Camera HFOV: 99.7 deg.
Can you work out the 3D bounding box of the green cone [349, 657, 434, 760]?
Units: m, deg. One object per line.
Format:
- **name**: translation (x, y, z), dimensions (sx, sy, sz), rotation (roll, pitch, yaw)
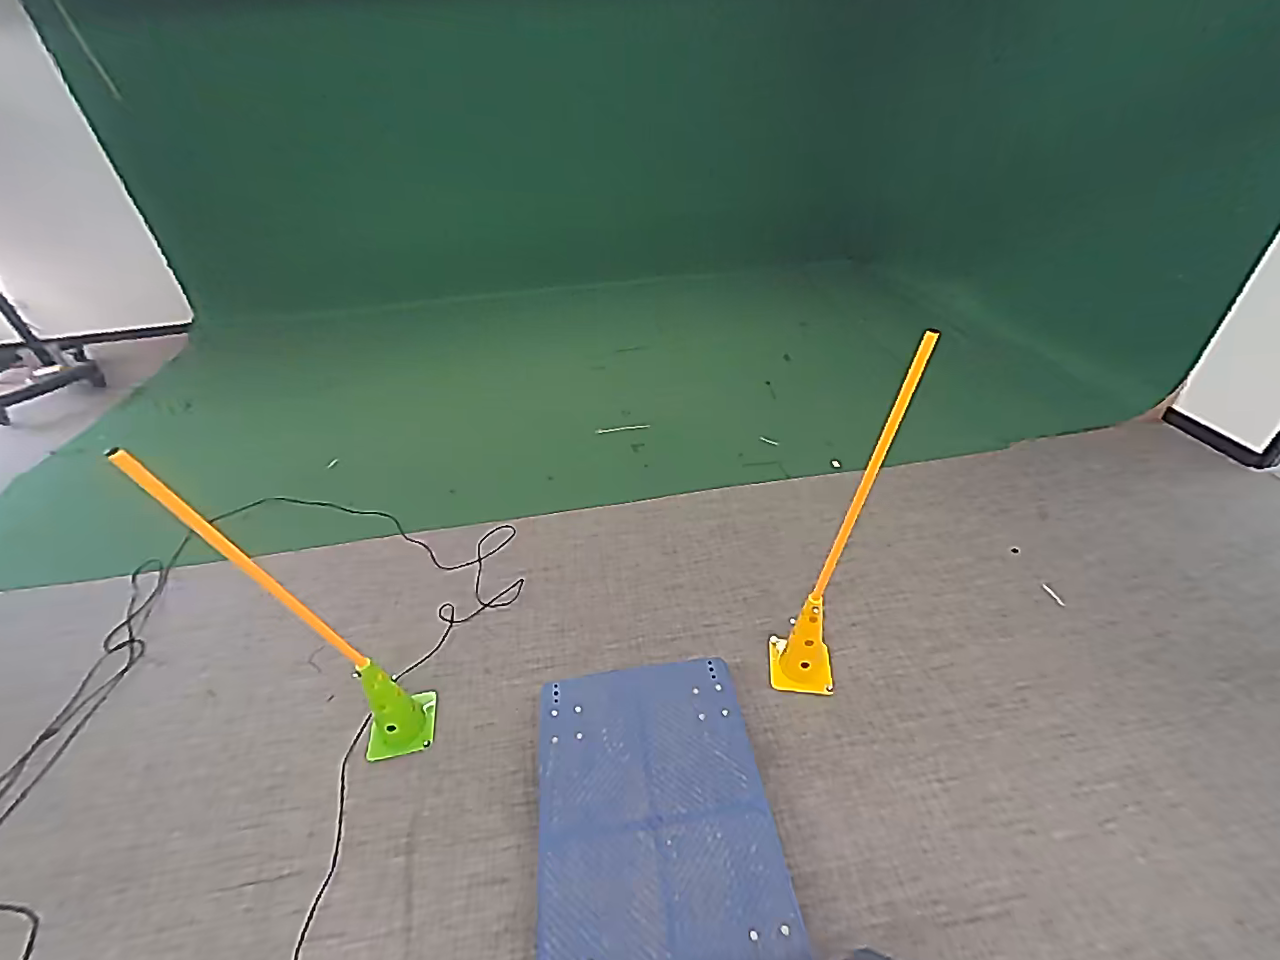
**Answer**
- **green cone**: translation (-0.787, 0.654, 1.645), dimensions (0.202, 0.368, 0.200), rotation (-12, 38, -7)
